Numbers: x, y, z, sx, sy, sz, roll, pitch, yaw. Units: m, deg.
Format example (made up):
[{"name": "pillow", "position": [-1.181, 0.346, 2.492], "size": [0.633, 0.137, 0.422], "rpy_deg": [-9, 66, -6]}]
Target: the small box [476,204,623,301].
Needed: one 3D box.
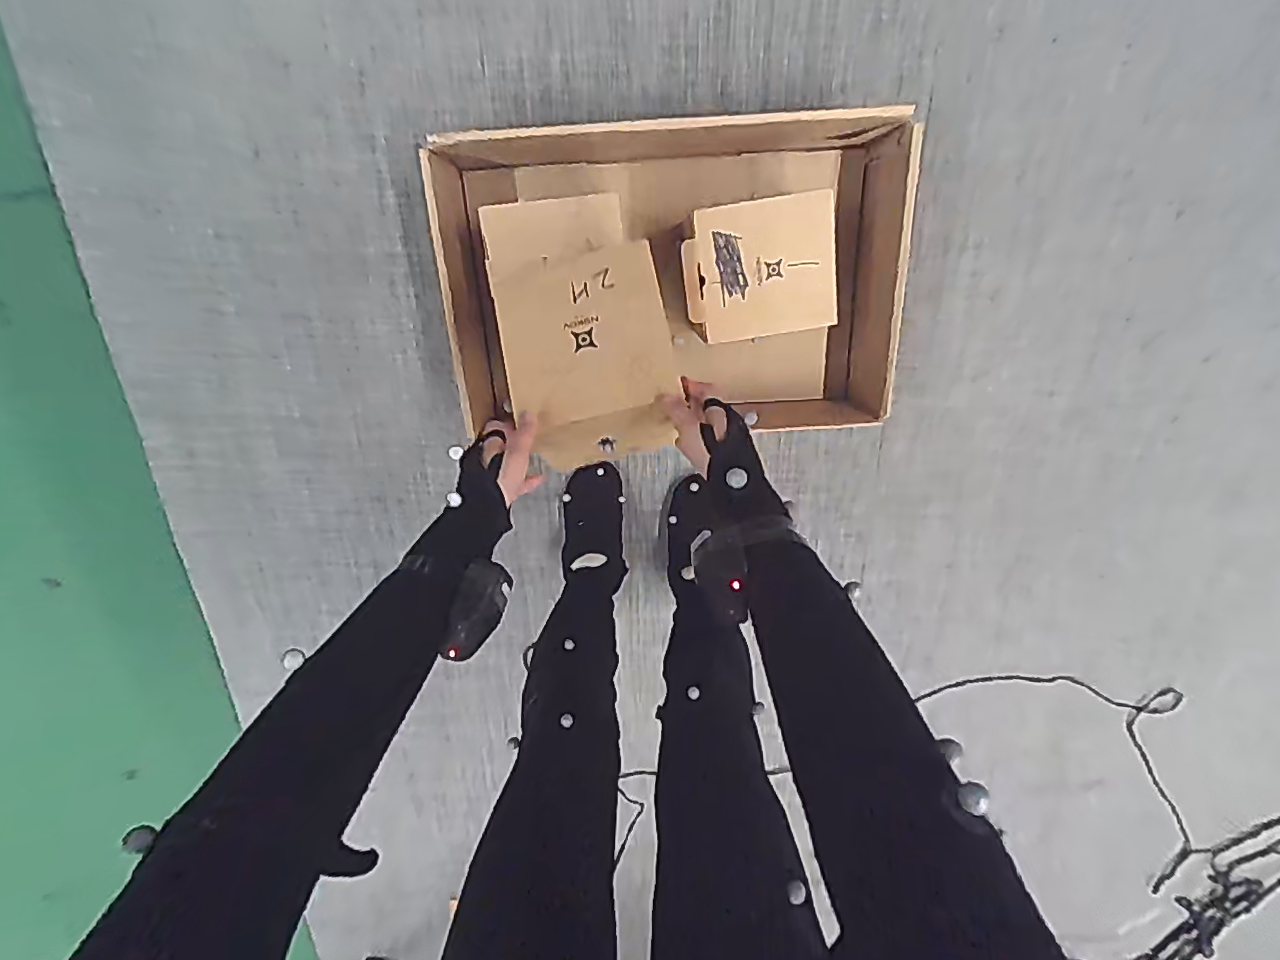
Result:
[{"name": "small box", "position": [-0.110, -0.282, 0.767], "size": [0.179, 0.176, 0.168], "rpy_deg": [-7, 111, 1]}]

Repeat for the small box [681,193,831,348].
[{"name": "small box", "position": [0.155, -0.290, 0.766], "size": [0.179, 0.176, 0.168], "rpy_deg": [-10, 110, 3]}]

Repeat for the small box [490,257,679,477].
[{"name": "small box", "position": [-0.053, -0.112, 0.615], "size": [0.168, 0.176, 0.179], "rpy_deg": [-13, 74, 1]}]
